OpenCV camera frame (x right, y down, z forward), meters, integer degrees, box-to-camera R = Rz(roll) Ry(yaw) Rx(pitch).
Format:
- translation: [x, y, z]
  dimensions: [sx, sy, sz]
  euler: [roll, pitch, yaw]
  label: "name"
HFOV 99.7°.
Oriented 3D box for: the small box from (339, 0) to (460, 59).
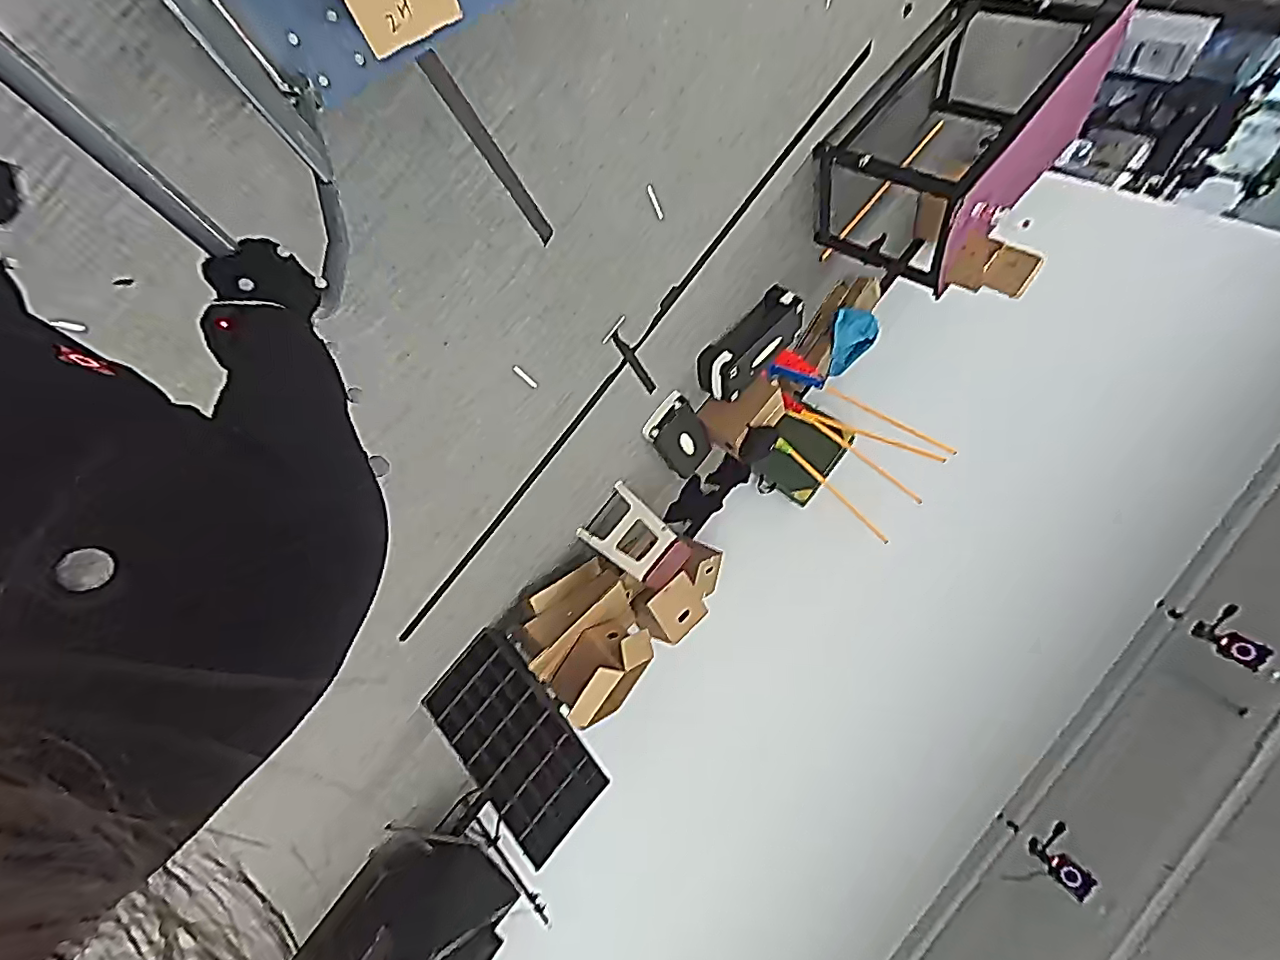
- translation: [-0.423, -0.834, 0.868]
  dimensions: [0.168, 0.176, 0.179]
  euler: [-29, 150, -3]
  label: "small box"
